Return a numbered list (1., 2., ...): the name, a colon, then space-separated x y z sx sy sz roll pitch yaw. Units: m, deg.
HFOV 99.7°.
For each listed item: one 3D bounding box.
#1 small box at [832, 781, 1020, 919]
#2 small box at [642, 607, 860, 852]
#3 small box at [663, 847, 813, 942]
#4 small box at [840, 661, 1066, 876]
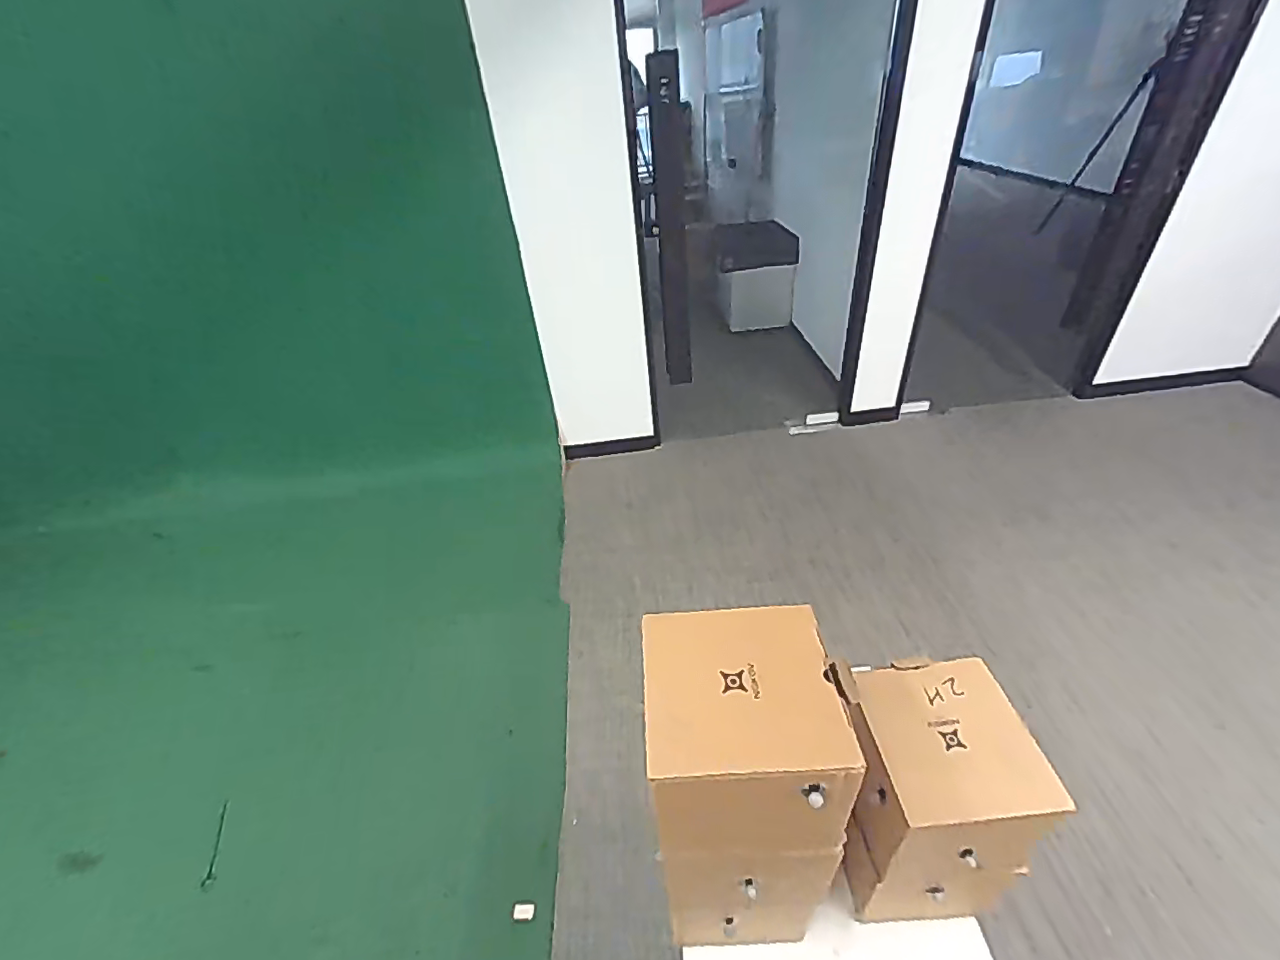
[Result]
1. small box: 0.369 0.480 0.746 0.179 0.176 0.168 -5 38 2
2. small box: 0.097 0.250 0.545 0.179 0.176 0.168 -4 37 1
3. small box: 0.123 0.509 0.742 0.179 0.176 0.168 -4 38 2
4. small box: 0.347 0.348 0.650 0.168 0.176 0.179 -7 37 1
